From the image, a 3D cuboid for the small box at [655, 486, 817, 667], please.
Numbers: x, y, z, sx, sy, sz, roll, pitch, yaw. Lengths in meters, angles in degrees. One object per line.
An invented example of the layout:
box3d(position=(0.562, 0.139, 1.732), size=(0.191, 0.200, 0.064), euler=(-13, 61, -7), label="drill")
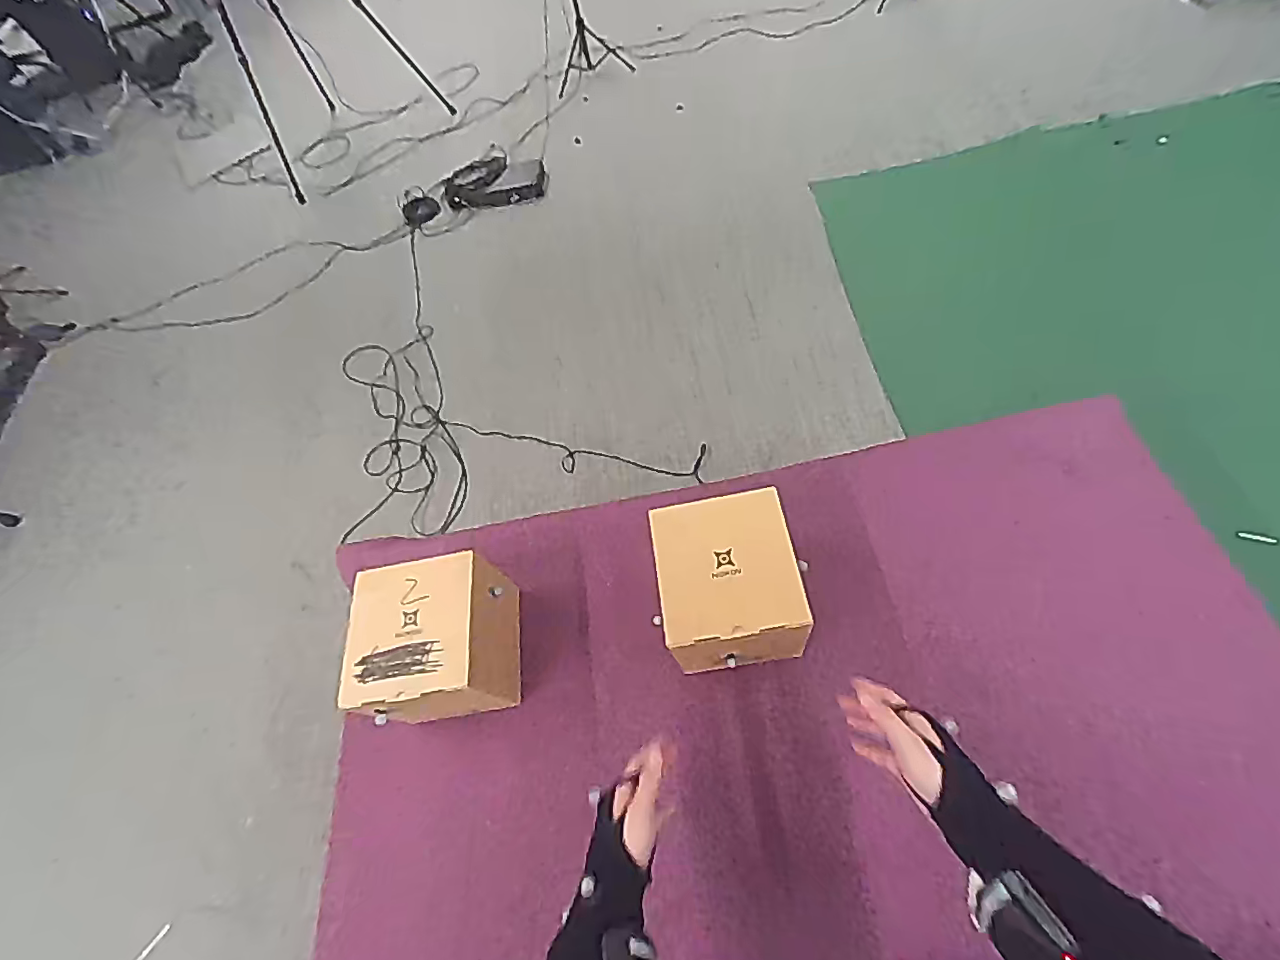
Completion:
box3d(position=(0.119, 0.133, 0.712), size=(0.168, 0.176, 0.179), euler=(-11, 61, 5), label="small box")
